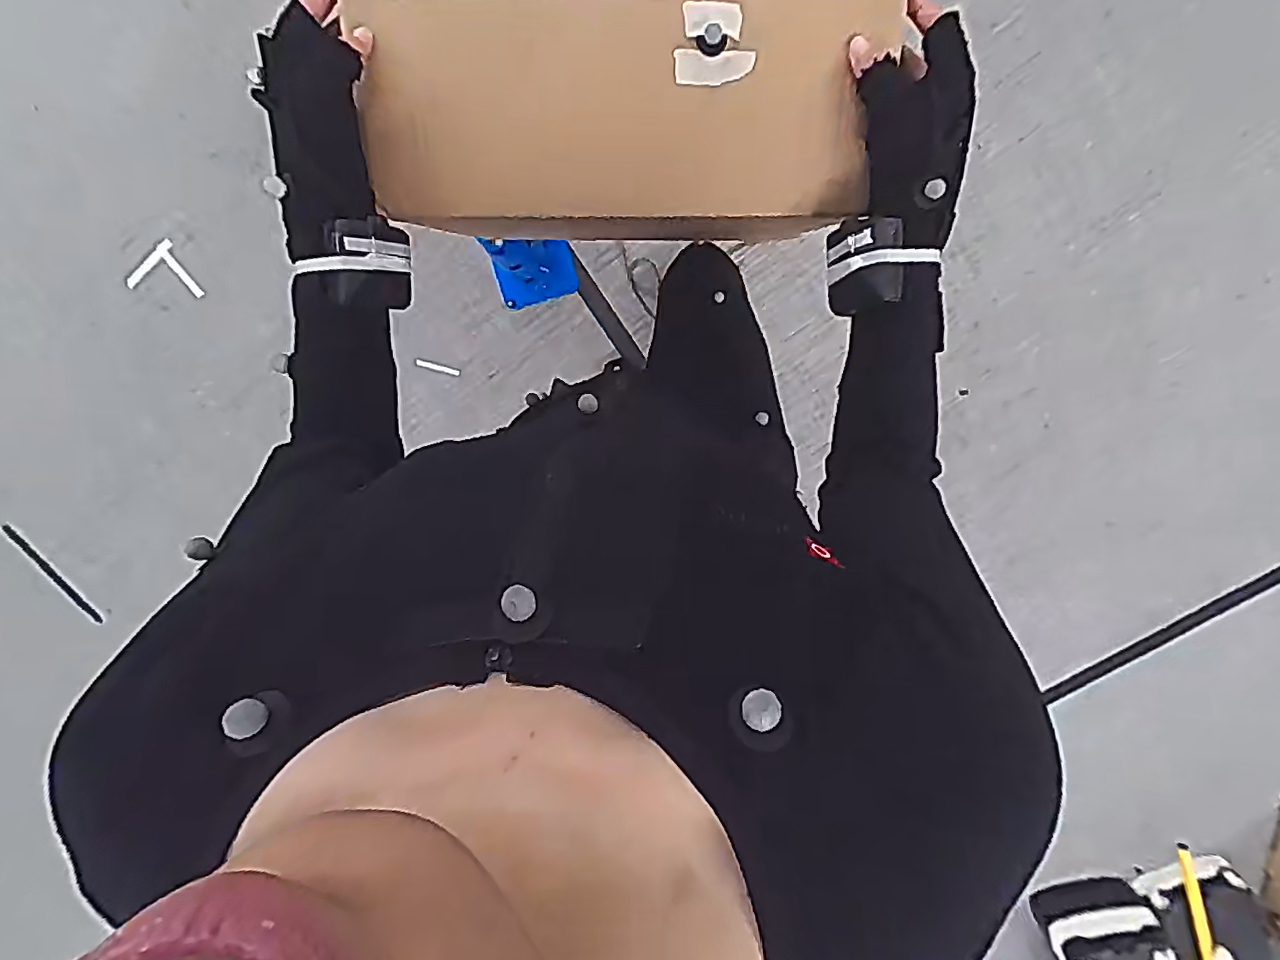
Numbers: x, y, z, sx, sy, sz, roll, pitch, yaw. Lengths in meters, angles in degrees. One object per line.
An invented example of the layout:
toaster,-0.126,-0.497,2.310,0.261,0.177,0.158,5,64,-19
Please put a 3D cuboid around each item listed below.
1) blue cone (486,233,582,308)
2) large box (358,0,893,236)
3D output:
blue cone,-0.270,-0.515,1.216,0.193,0.380,0.192,-13,103,8
large box,-0.012,-0.424,0.533,0.408,0.320,0.320,0,111,0
